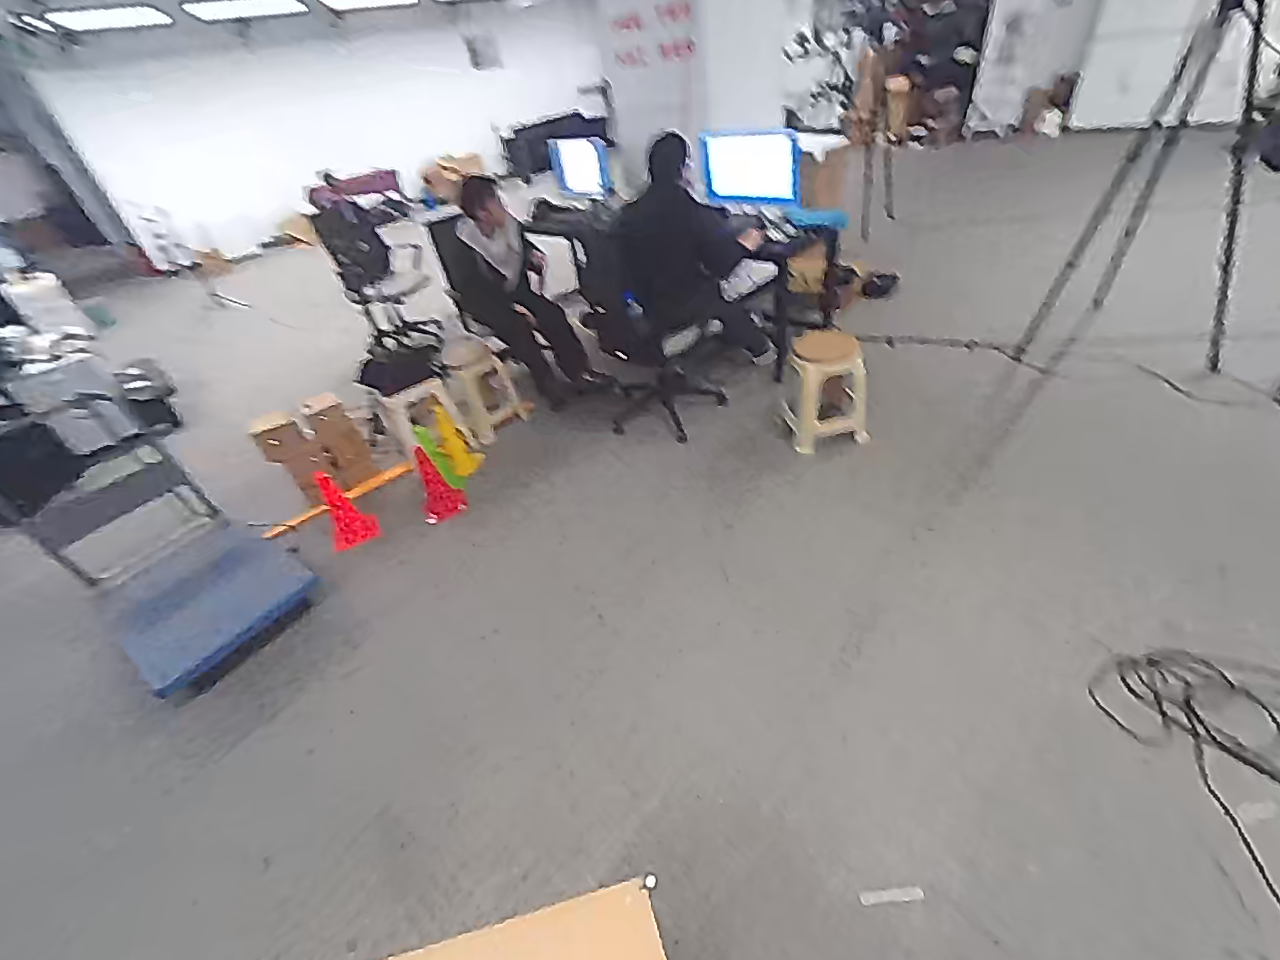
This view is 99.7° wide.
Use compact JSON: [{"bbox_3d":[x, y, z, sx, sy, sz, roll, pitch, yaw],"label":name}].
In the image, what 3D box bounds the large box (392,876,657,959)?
[{"bbox_3d":[-0.162,0.704,0.546,0.408,0.320,0.320,-4,34,-20],"label":"large box"}]
